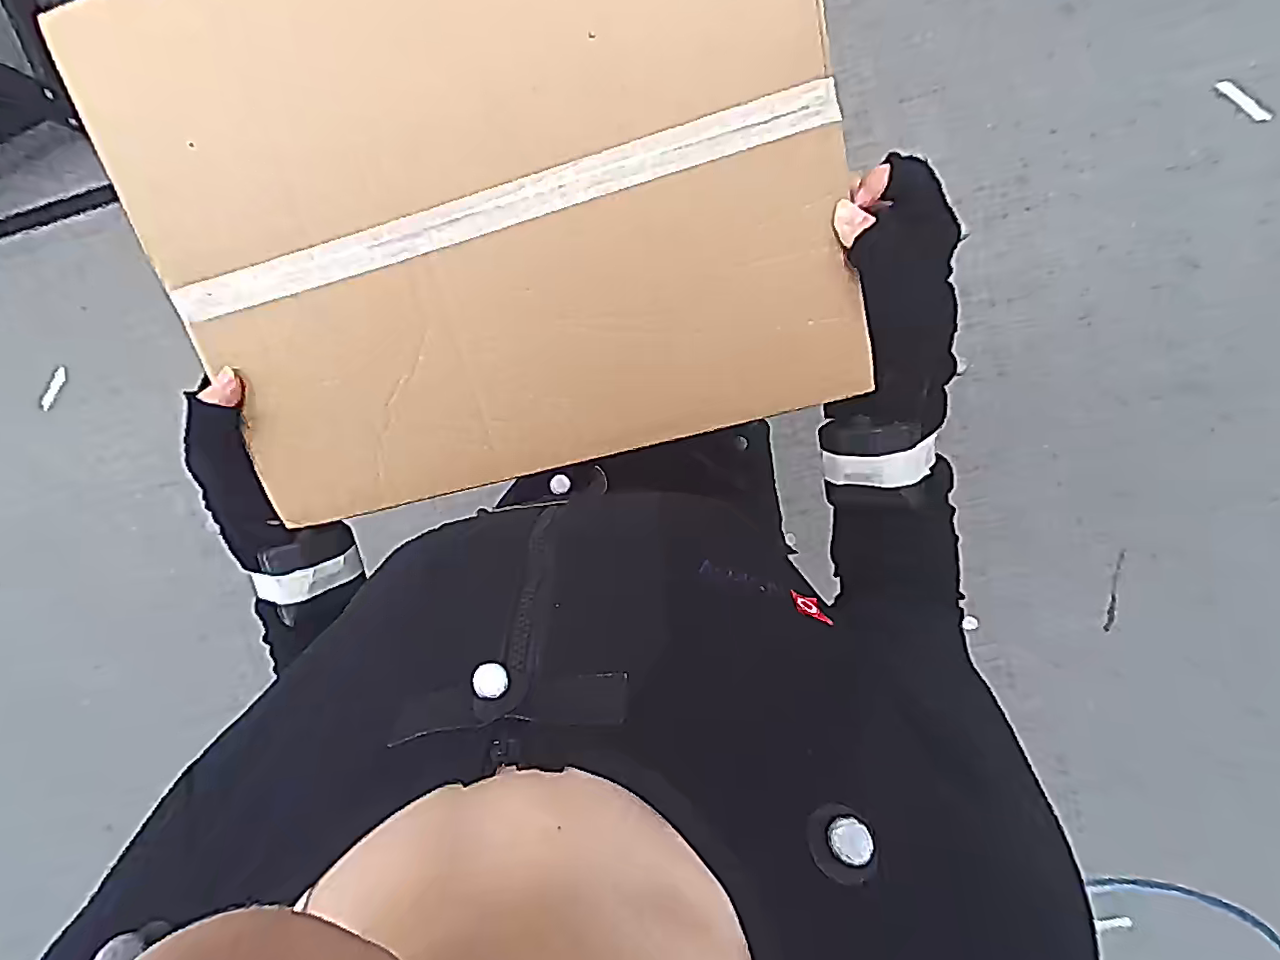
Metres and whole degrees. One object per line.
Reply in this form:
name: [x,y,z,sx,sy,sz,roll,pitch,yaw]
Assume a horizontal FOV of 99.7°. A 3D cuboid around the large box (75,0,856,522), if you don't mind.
large box: [-0.083,-0.203,0.462,0.408,0.320,0.320,-13,106,8]
